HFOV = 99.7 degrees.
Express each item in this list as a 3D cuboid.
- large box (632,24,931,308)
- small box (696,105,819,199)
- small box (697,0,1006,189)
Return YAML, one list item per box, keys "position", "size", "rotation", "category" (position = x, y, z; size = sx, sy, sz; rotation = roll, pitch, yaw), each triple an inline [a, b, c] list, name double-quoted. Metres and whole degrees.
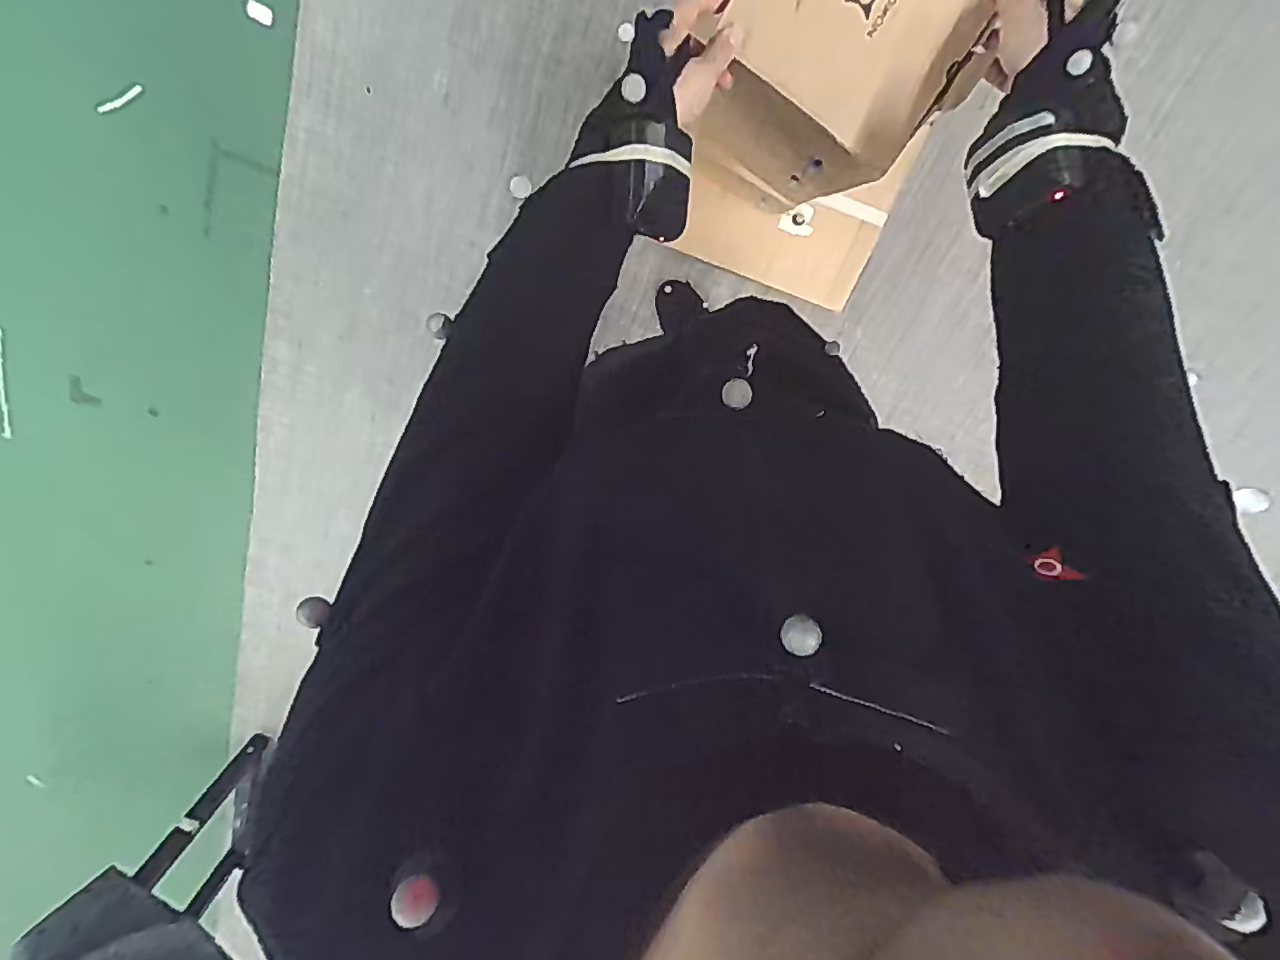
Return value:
- position: [0.222, -0.548, 1.014]
  size: [0.408, 0.320, 0.320]
  rotation: [18, 113, -5]
  category: "large box"
- position: [0.178, -0.447, 0.619]
  size: [0.179, 0.176, 0.168]
  rotation: [29, 110, -10]
  category: "small box"
- position: [0.167, -0.381, 0.472]
  size: [0.179, 0.176, 0.168]
  rotation: [30, 109, -10]
  category: "small box"
